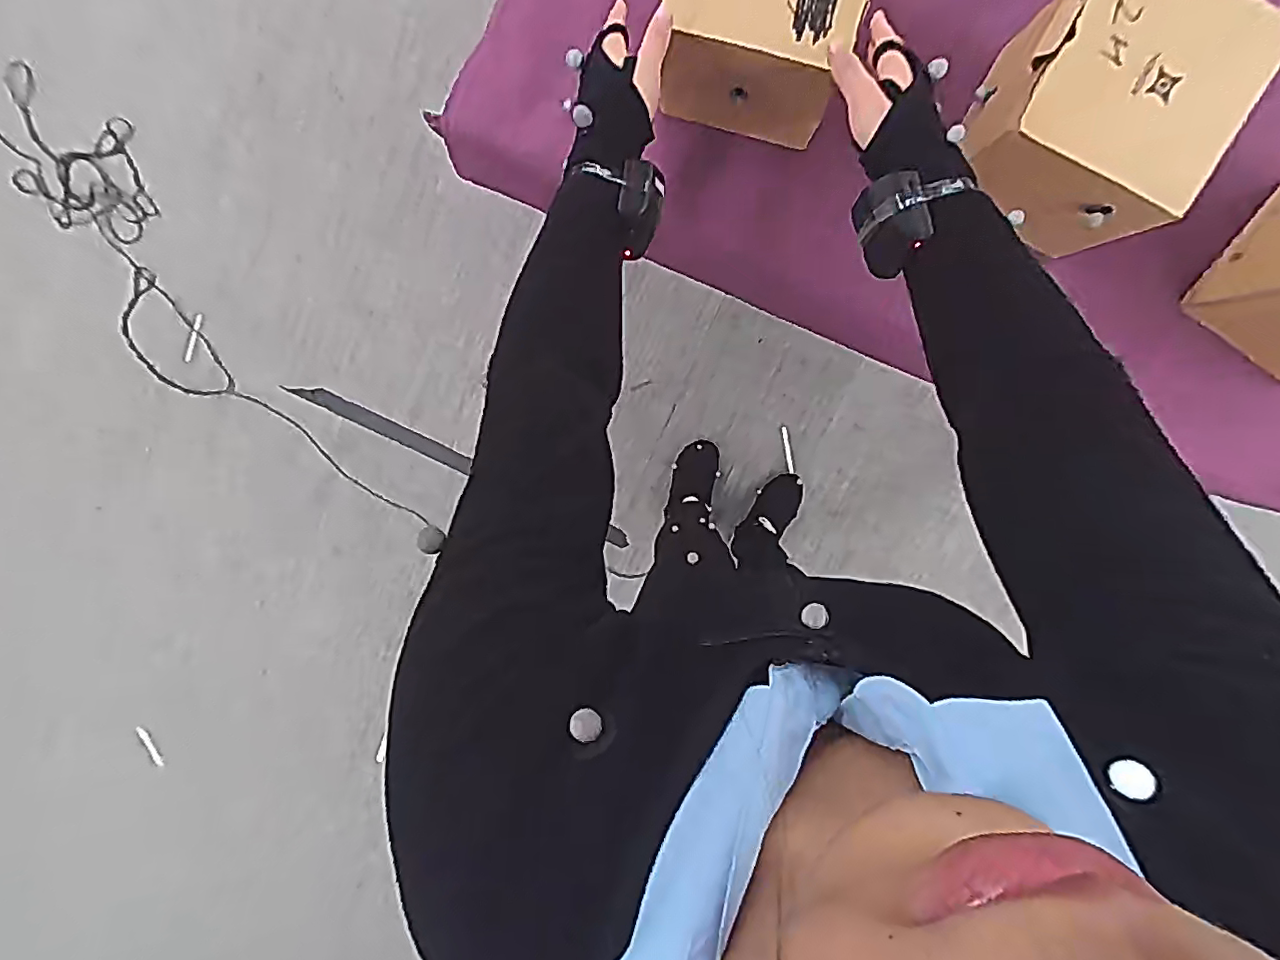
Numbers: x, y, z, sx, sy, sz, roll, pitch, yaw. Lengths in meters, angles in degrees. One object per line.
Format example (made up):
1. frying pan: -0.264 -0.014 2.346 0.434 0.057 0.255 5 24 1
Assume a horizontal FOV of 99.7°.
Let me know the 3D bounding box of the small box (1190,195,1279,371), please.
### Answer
1. small box: 0.741 -0.214 0.543 0.179 0.176 0.168 33 101 -3

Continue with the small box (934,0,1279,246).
1. small box: 0.443 -0.356 0.538 0.179 0.176 0.168 26 101 -1
